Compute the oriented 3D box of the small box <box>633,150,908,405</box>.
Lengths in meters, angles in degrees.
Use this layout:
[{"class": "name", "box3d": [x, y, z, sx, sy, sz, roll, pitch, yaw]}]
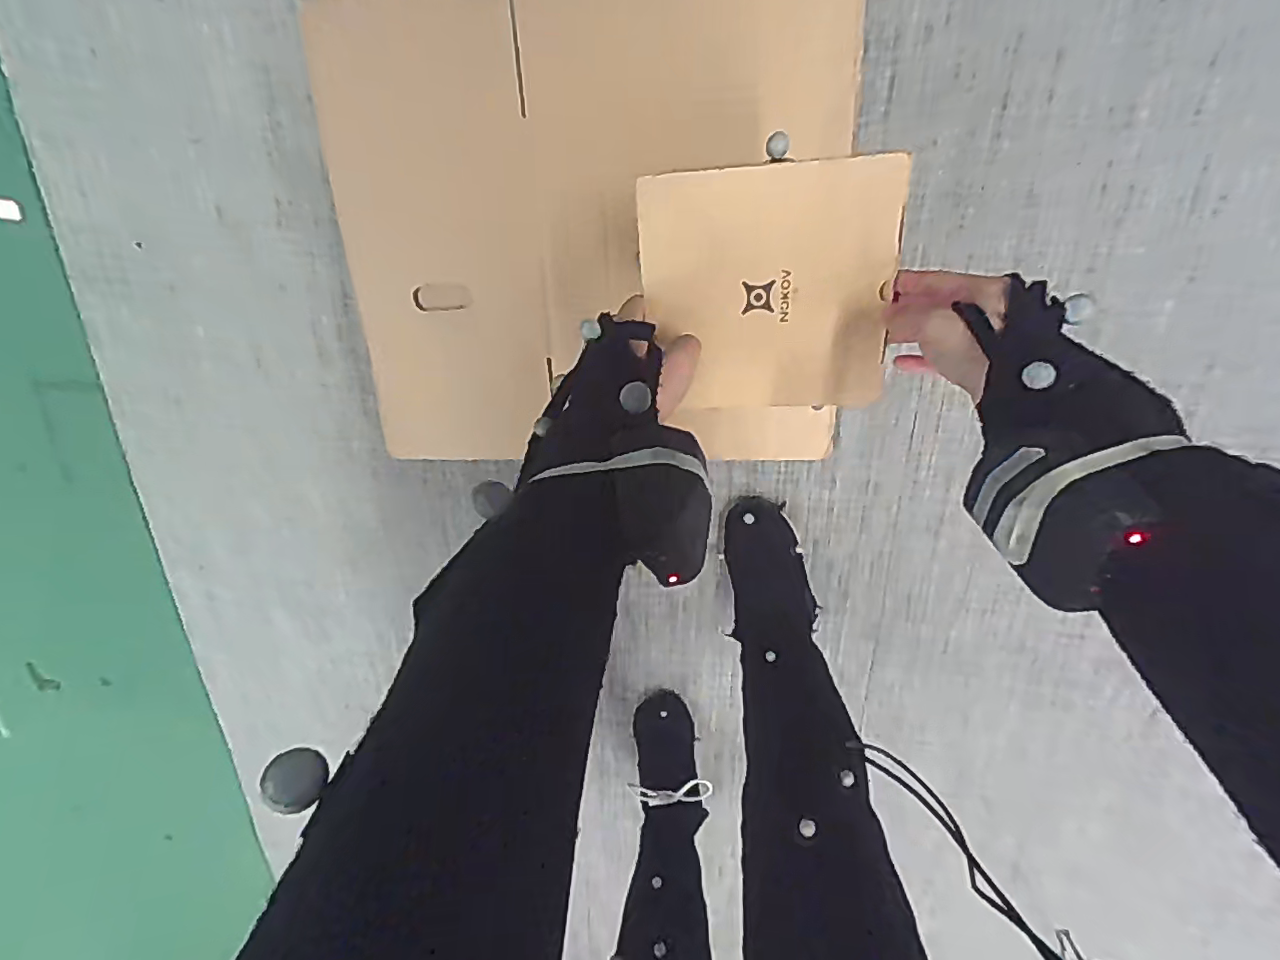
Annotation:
[{"class": "small box", "box3d": [0.097, -0.169, 0.453, 0.179, 0.176, 0.168, -1, 118, 8]}]
